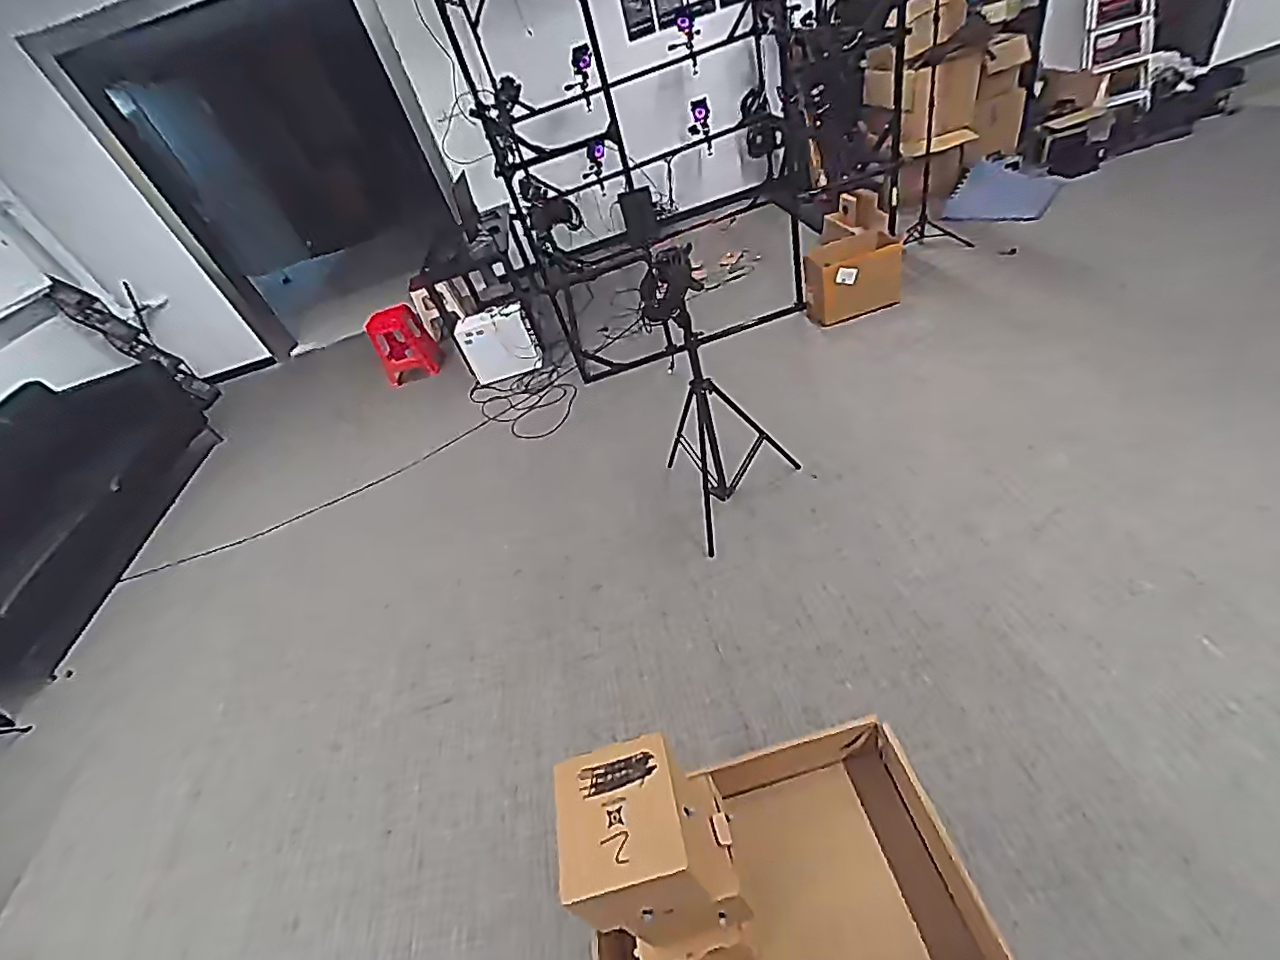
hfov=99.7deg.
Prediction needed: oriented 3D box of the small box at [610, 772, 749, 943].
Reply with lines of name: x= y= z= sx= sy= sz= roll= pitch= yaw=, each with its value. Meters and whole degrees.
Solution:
small box: x=0.066 y=0.602 z=0.861 sx=0.179 sy=0.176 sz=0.168 roll=-19 pitch=39 yaw=2

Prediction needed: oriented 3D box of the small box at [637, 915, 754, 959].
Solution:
small box: x=0.085 y=0.743 z=0.950 sx=0.168 sy=0.176 sz=0.179 roll=-22 pitch=40 yaw=-1
